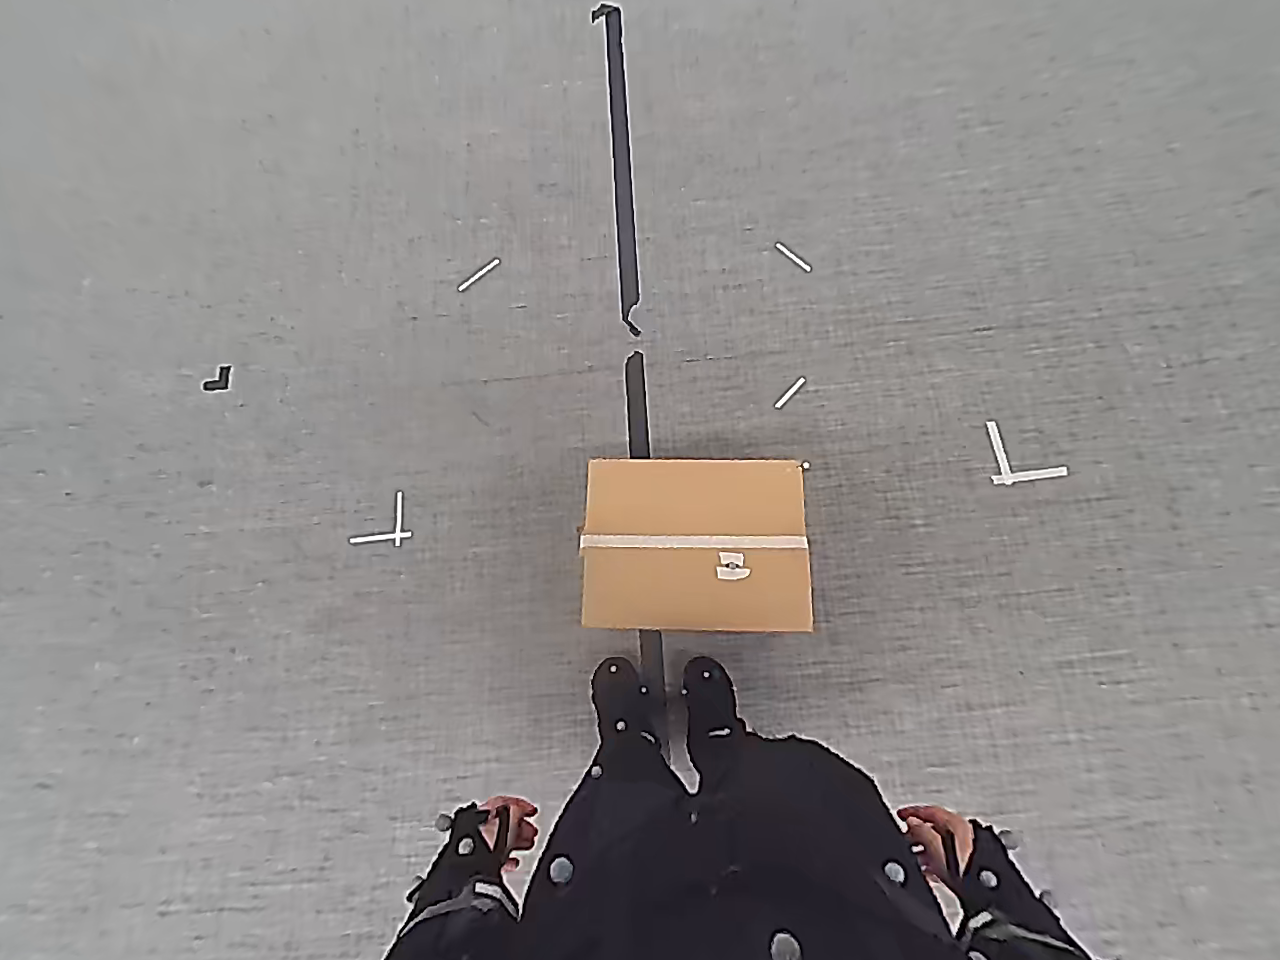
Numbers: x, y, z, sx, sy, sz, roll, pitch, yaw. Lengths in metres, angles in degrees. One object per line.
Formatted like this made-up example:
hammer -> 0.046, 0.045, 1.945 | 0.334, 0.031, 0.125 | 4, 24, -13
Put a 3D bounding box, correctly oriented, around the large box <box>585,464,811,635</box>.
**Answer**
large box -> 0.103, 0.159, 1.125 | 0.408, 0.320, 0.320 | 0, 75, 2
